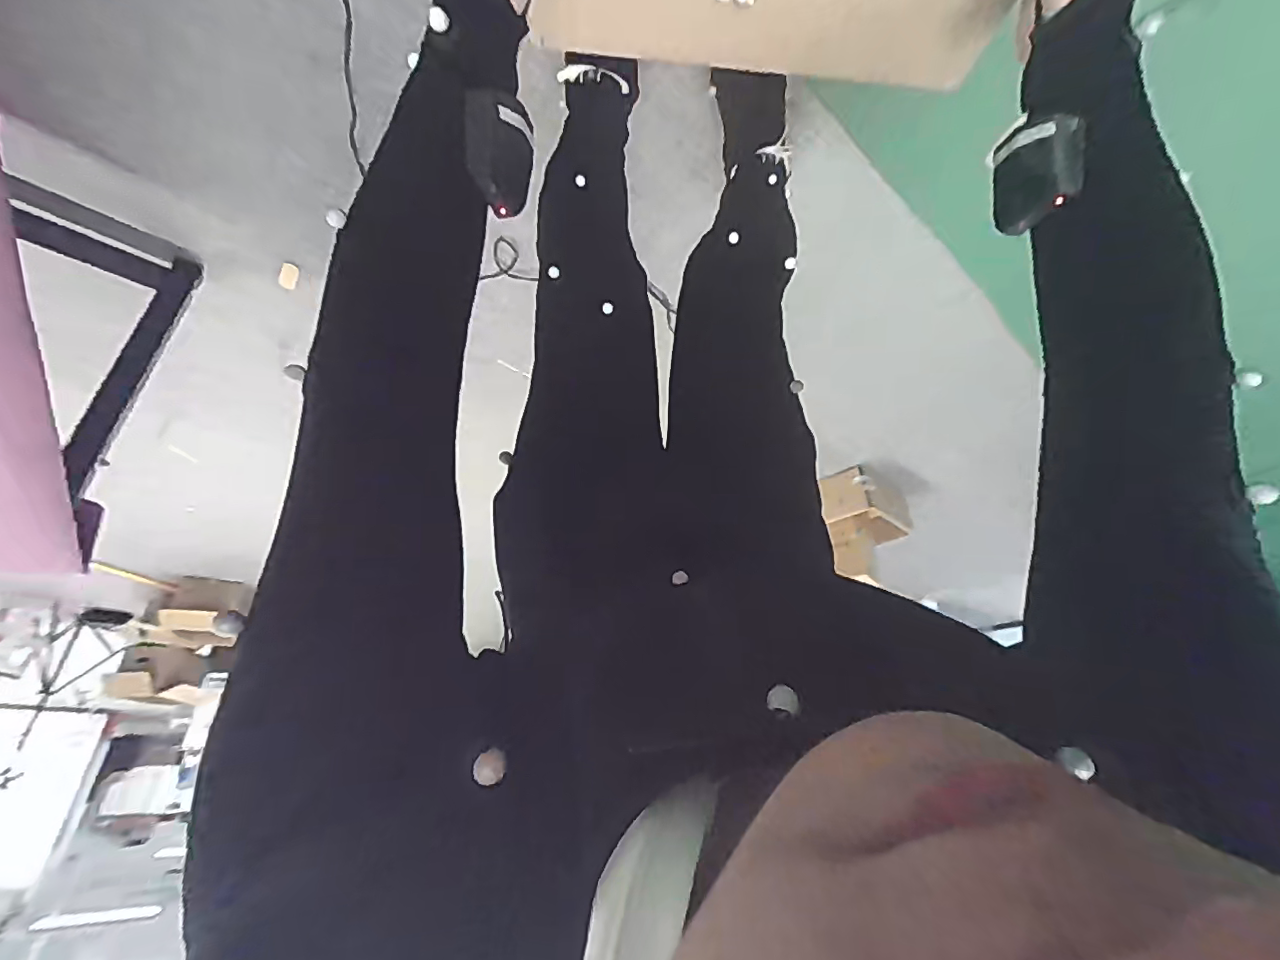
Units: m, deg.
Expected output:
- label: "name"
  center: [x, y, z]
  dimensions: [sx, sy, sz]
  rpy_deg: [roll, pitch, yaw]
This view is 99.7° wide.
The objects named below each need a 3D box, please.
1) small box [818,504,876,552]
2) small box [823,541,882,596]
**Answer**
- label: "small box"
  center: [0.863, 0.214, 2.260]
  dimensions: [0.168, 0.176, 0.179]
  rpy_deg: [-22, 143, 39]
- label: "small box"
  center: [0.860, 0.360, 2.187]
  dimensions: [0.168, 0.176, 0.179]
  rpy_deg: [-20, 144, 36]
